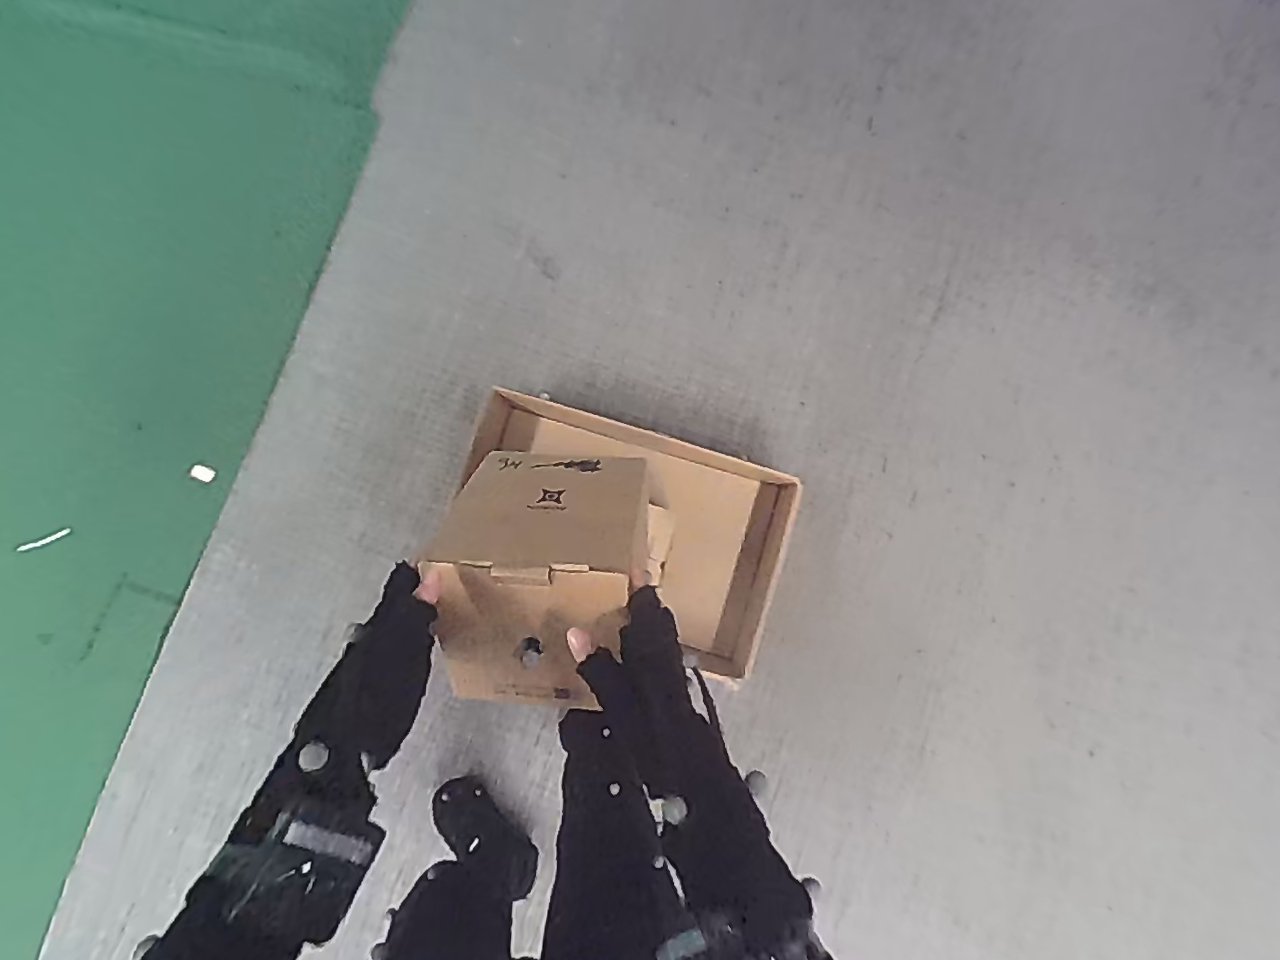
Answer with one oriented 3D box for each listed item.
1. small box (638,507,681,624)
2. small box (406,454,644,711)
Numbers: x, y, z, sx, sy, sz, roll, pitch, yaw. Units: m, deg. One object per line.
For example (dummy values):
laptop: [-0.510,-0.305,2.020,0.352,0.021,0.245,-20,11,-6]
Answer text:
small box: [-0.041,0.118,0.884,0.179,0.176,0.168,17,86,4]
small box: [-0.086,0.092,0.513,0.168,0.179,0.176,3,122,6]
